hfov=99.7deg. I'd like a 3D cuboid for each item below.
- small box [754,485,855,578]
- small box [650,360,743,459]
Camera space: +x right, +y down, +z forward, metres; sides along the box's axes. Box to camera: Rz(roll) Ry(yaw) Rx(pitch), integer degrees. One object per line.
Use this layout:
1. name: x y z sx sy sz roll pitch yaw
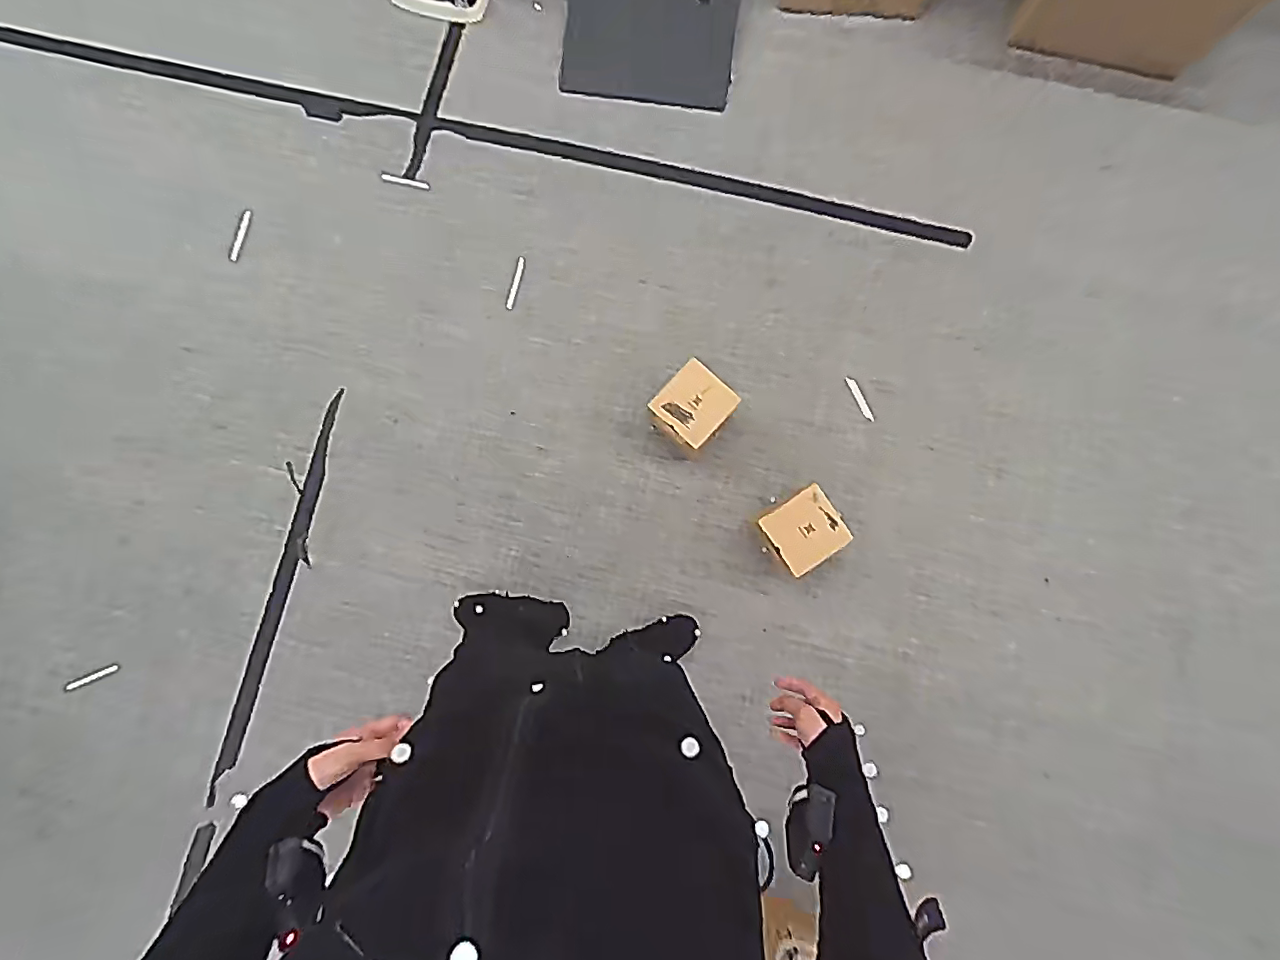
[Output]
1. small box: 0.407 0.132 1.380 0.179 0.176 0.168 -33 86 -1
2. small box: 0.143 -0.175 1.414 0.168 0.176 0.179 43 85 4
